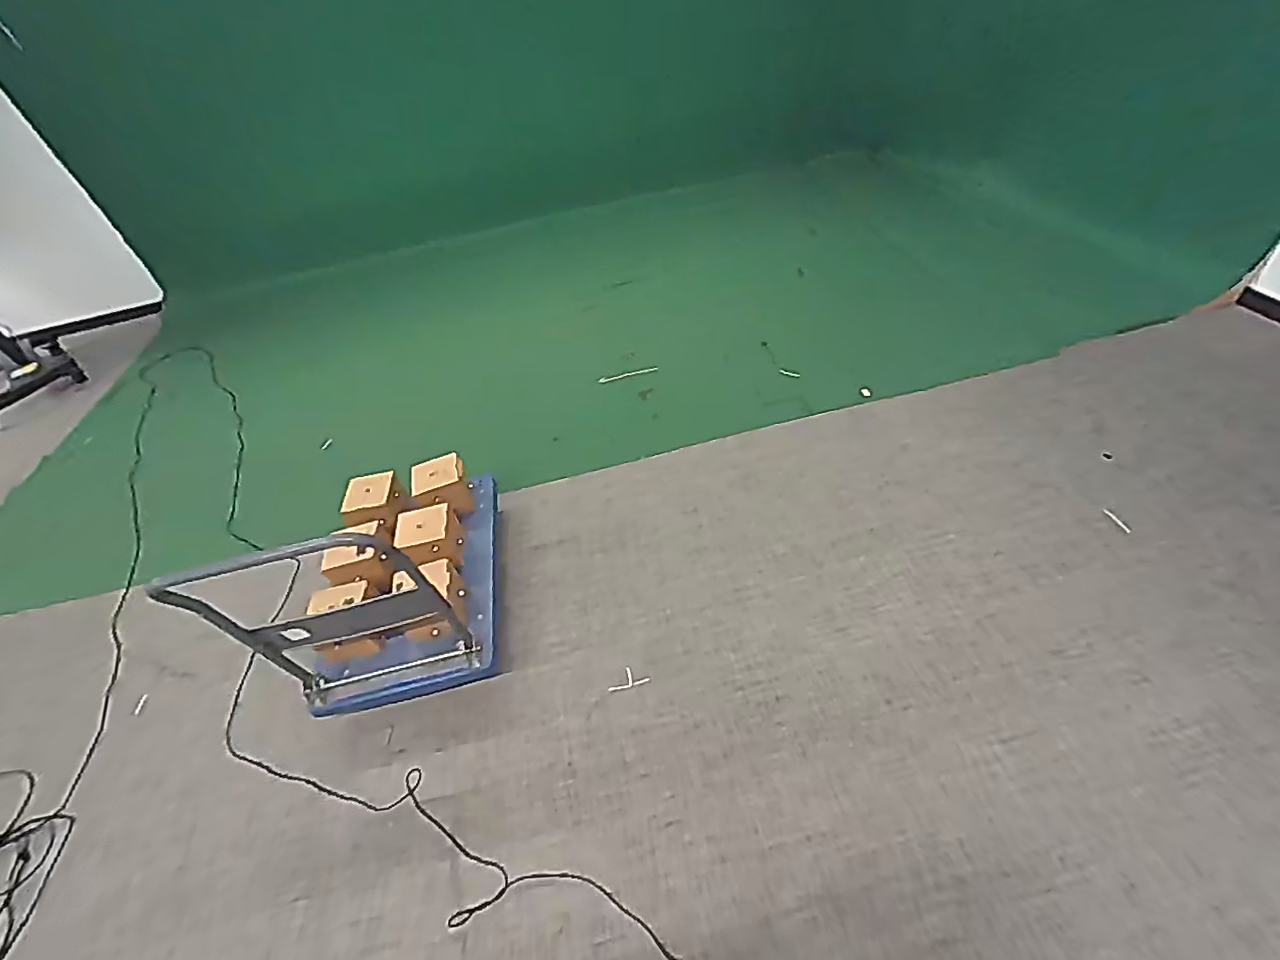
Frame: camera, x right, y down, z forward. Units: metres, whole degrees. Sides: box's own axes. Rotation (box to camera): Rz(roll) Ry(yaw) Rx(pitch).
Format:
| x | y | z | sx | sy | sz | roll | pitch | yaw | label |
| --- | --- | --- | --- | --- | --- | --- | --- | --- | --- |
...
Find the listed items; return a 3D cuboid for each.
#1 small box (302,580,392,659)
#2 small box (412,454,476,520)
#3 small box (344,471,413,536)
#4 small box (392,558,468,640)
| x | y | z | sx | sy | sz | roll | pitch | yaw | label |
| --- | --- | --- | --- | --- | --- | --- | --- | --- | --- |
| -0.910 | 0.441 | 1.701 | 0.179 | 0.176 | 0.168 | -12 | 45 | 0 | small box |
| -0.739 | 0.032 | 2.054 | 0.179 | 0.176 | 0.168 | -13 | 48 | -2 | small box |
| -0.983 | 0.095 | 2.049 | 0.168 | 0.176 | 0.179 | -11 | 46 | 0 | small box |
| -0.655 | 0.379 | 1.709 | 0.179 | 0.176 | 0.168 | -15 | 46 | -4 | small box |
